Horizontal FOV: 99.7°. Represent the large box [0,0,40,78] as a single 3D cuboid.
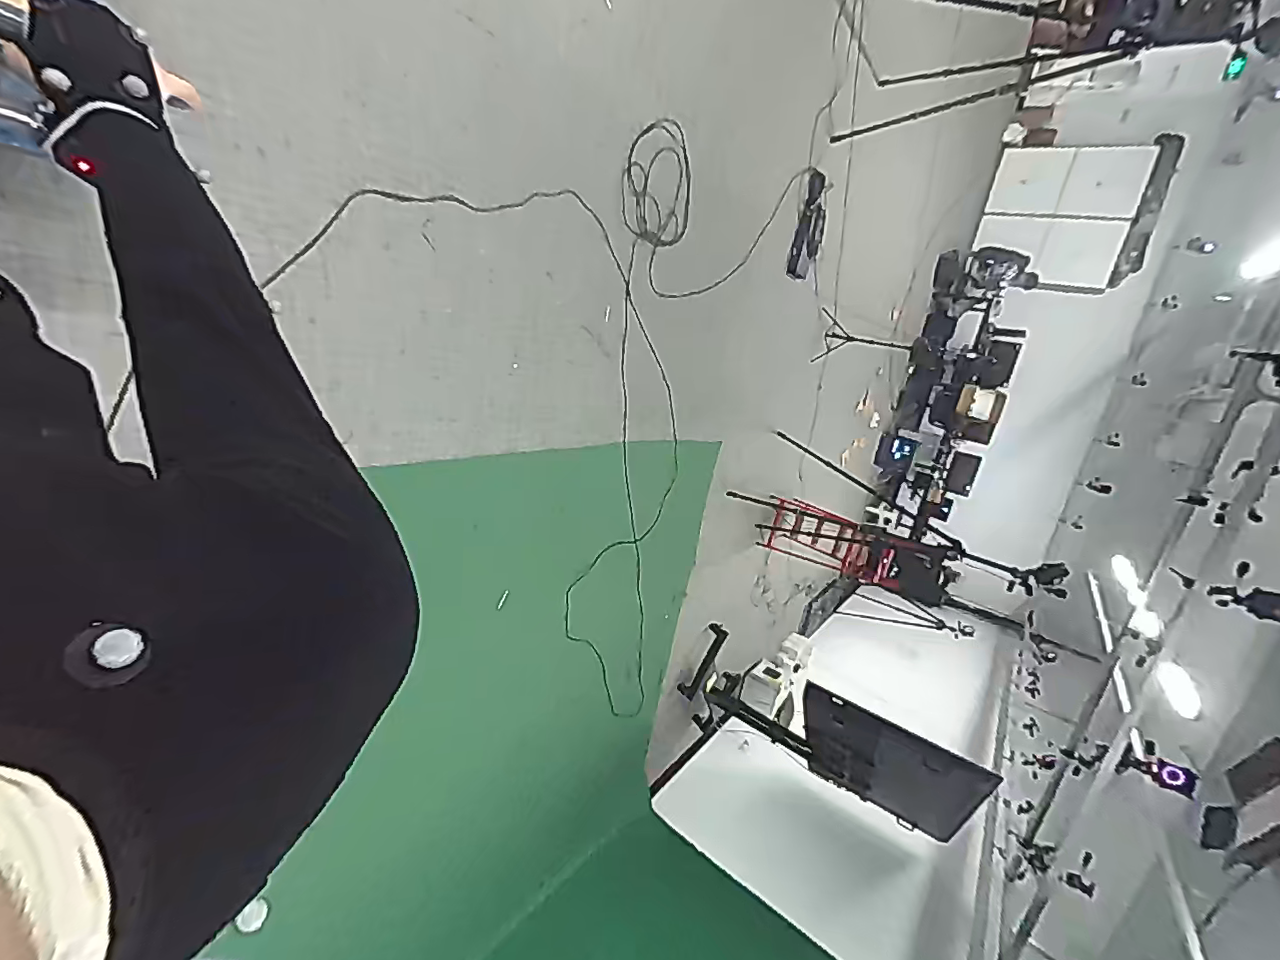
[{"bbox_3d":[-0.951,-0.771,0.613,0.320,0.320,0.408,-8,112,-55],"label":"large box"}]
